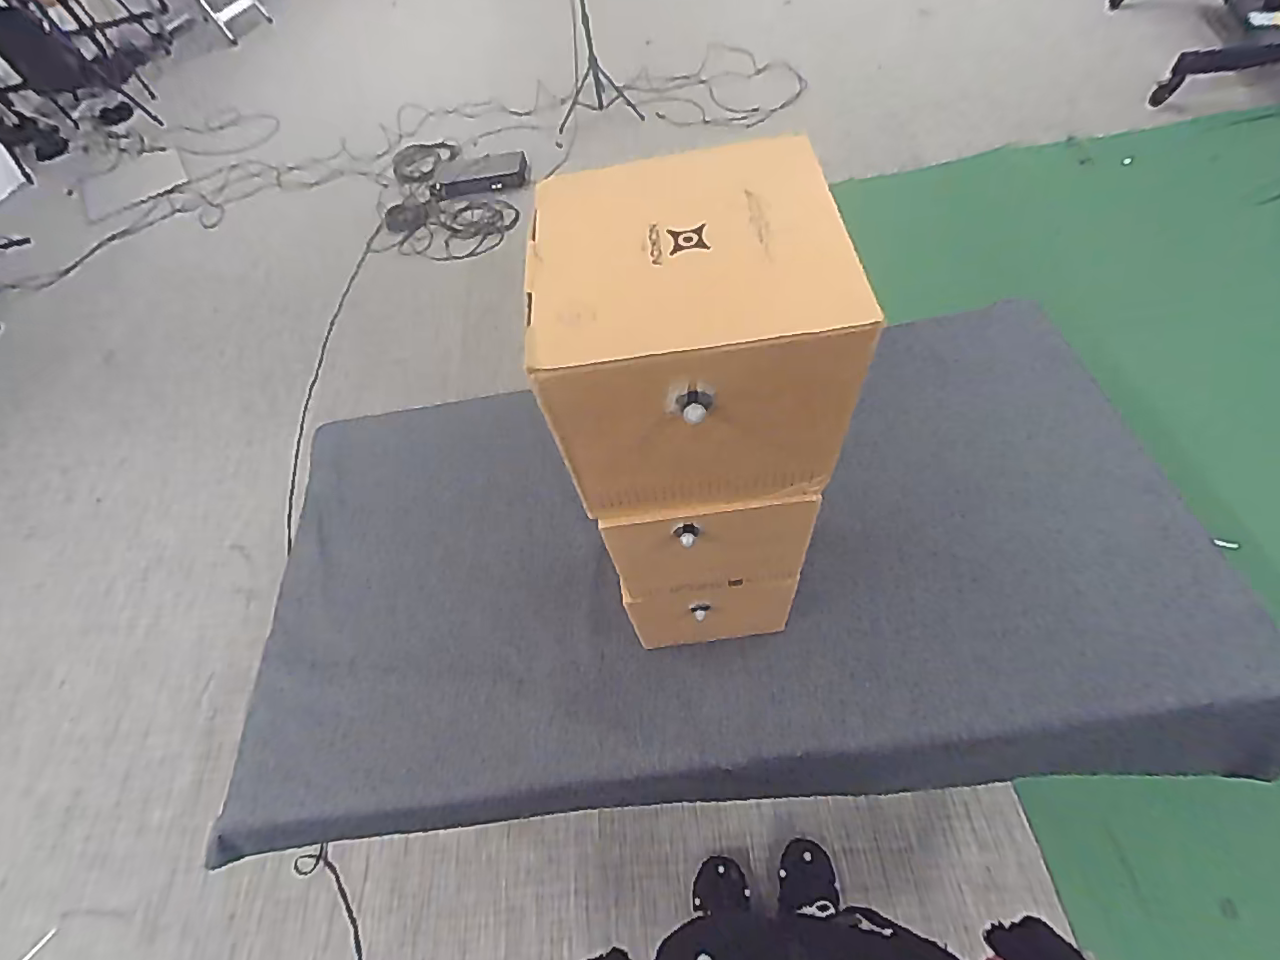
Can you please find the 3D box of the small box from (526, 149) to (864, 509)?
[{"bbox_3d":[0.032,-0.092,0.381,0.179,0.176,0.168,-7,59,4],"label":"small box"}]

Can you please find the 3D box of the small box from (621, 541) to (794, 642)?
[{"bbox_3d":[0.076,0.085,0.651,0.179,0.176,0.168,-9,57,3],"label":"small box"}]

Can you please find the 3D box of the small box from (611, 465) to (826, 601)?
[{"bbox_3d":[0.059,-0.004,0.518,0.168,0.176,0.179,-10,58,2],"label":"small box"}]
